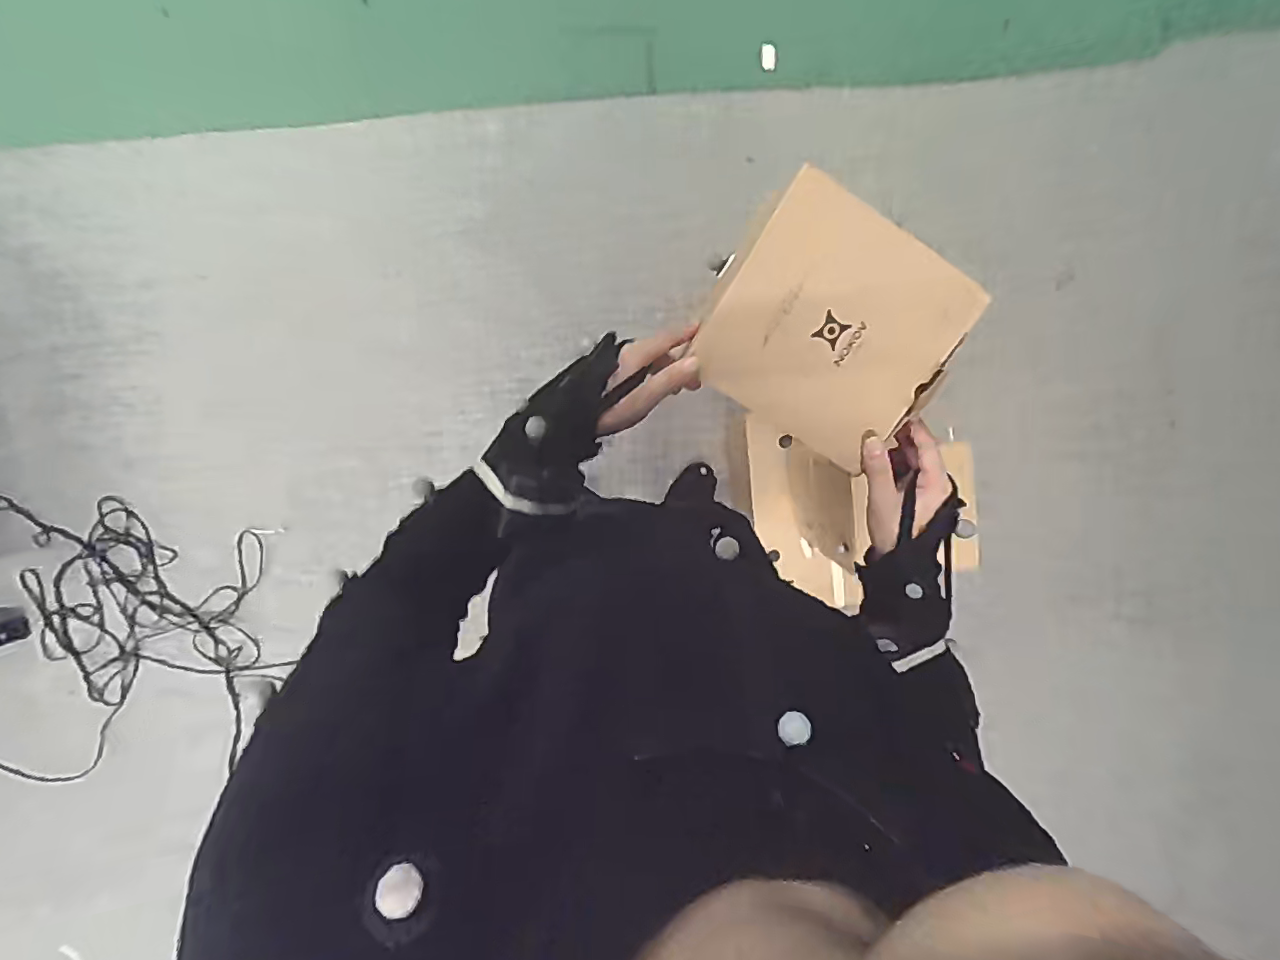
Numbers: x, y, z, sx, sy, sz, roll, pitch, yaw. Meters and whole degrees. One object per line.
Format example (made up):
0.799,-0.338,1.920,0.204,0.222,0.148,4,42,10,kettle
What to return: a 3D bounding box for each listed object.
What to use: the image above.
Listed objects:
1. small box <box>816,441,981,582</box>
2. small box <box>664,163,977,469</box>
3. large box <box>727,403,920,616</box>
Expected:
0.370,0.037,0.802,0.168,0.176,0.179,-7,95,2,small box
0.136,-0.137,0.481,0.179,0.176,0.168,28,103,-7,small box
0.386,0.047,1.210,0.320,0.320,0.408,-6,95,3,large box
